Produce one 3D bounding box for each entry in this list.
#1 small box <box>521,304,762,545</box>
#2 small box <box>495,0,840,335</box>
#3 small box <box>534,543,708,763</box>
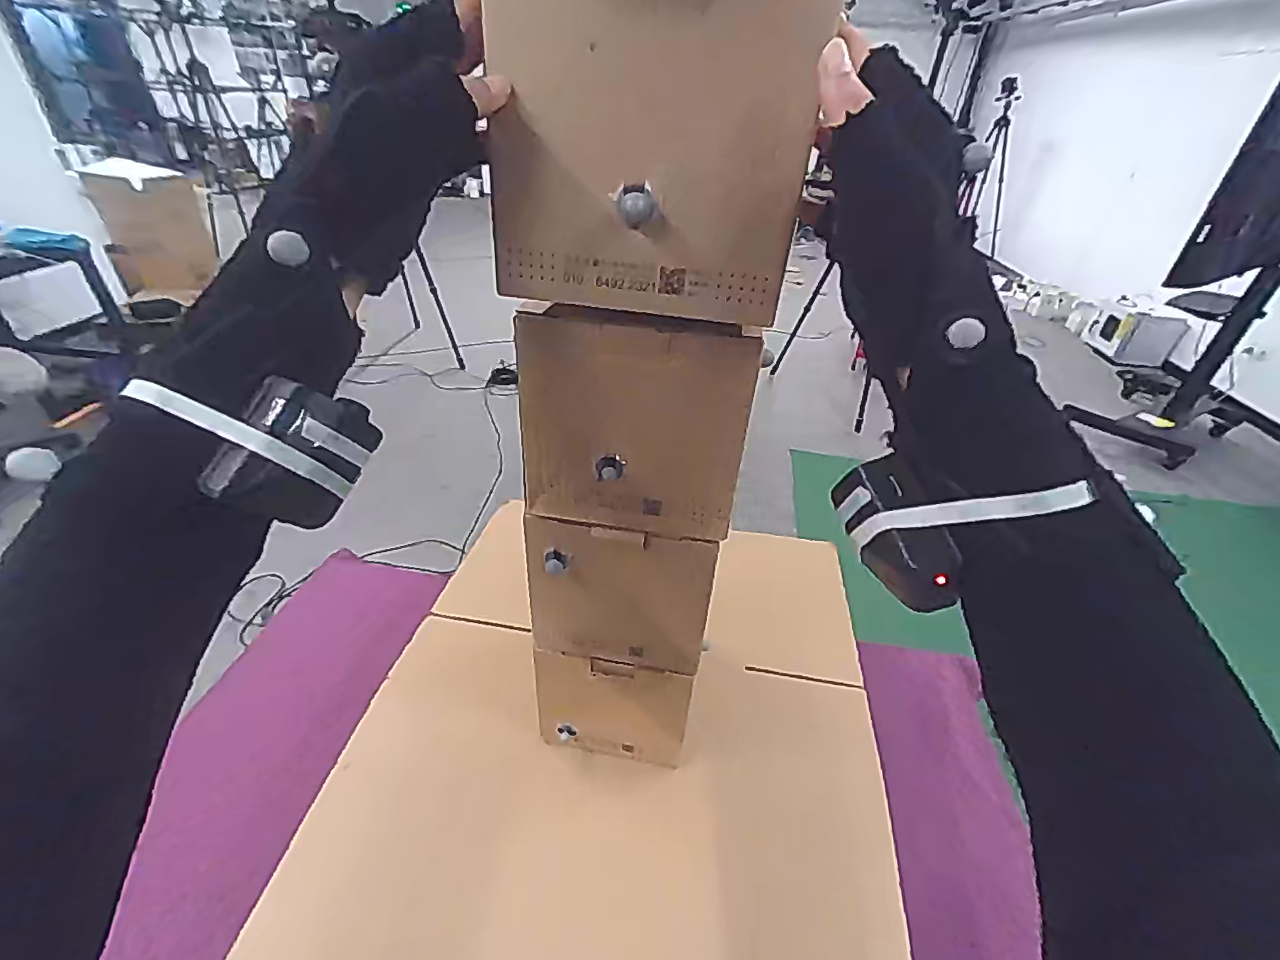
[{"bbox_3d":[0.005,-0.071,0.465,0.168,0.176,0.179,8,34,5],"label":"small box"},{"bbox_3d":[0.014,-0.207,0.350,0.168,0.176,0.179,8,33,5],"label":"small box"},{"bbox_3d":[-0.015,0.203,0.645,0.168,0.176,0.179,8,34,7],"label":"small box"}]
